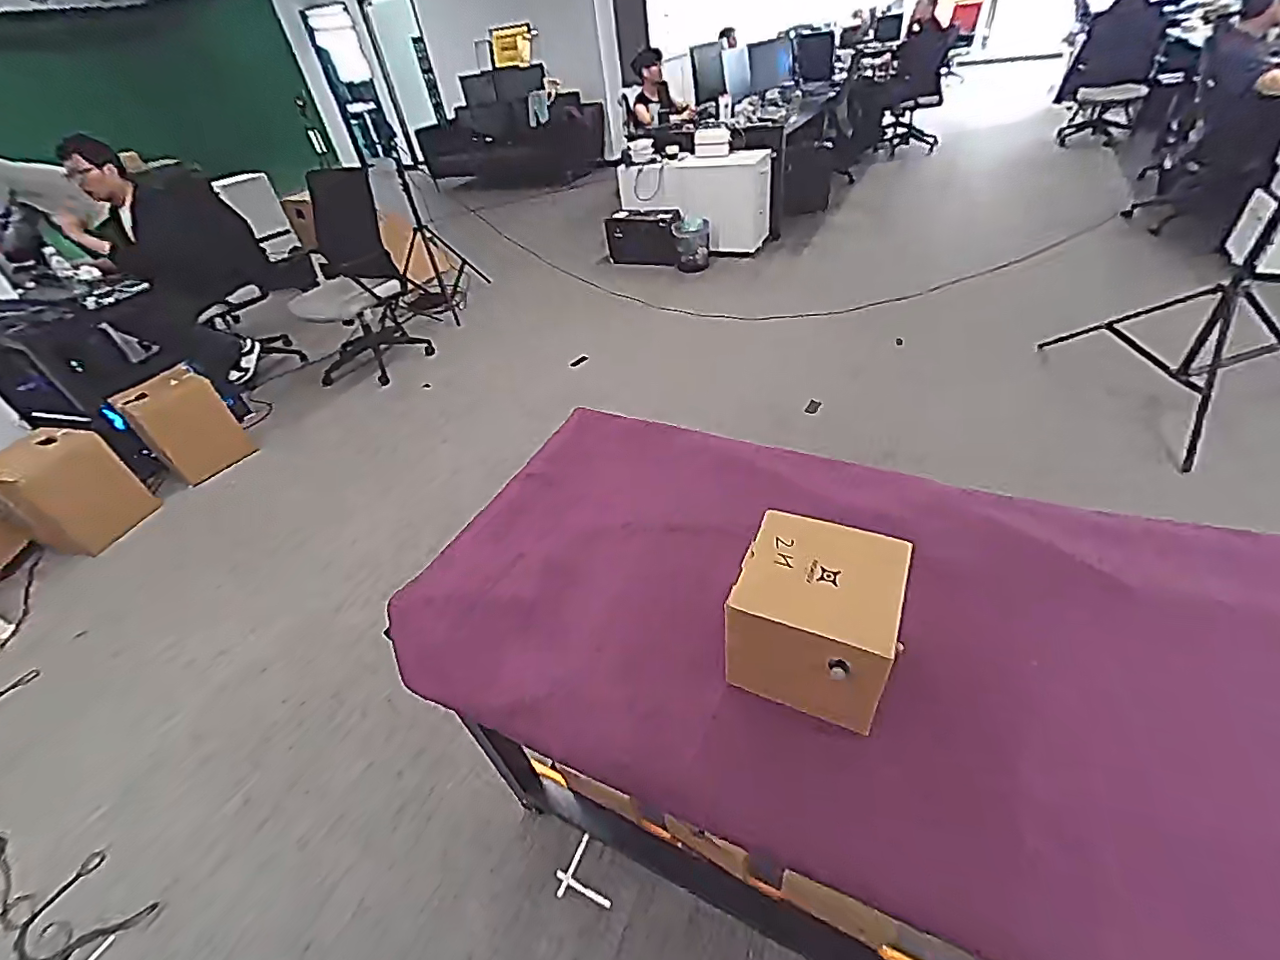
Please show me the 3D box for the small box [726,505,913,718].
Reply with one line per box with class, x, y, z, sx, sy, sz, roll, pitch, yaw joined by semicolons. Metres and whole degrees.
small box;0.216;0.162;0.665;0.179;0.176;0.168;13;44;24
